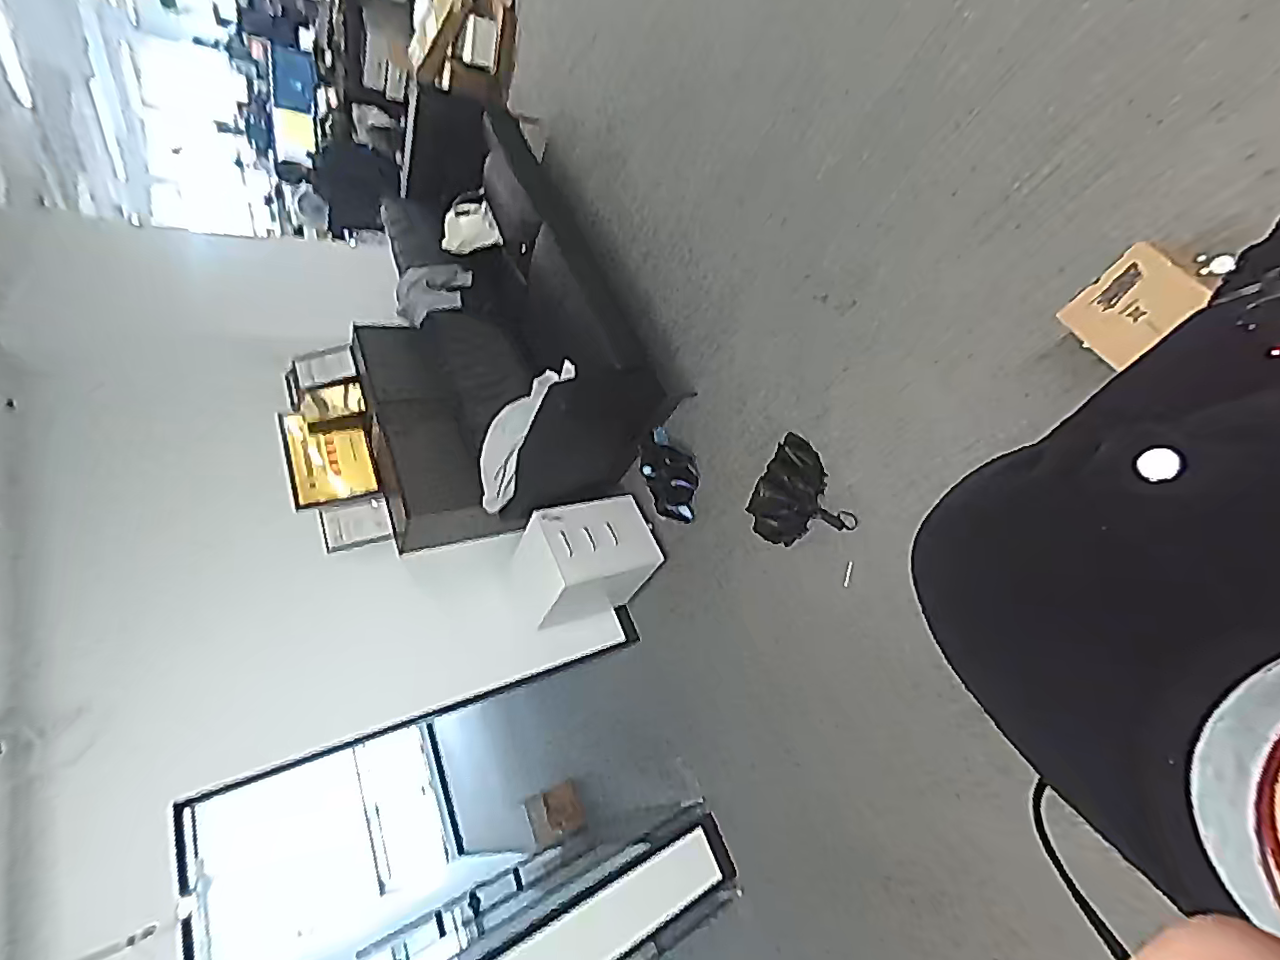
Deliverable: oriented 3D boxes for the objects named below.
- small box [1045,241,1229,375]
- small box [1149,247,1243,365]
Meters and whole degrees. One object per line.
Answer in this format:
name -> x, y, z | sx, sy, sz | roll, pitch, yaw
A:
small box -> 0.923, -0.315, 1.010 | 0.179, 0.176, 0.168 | 61, 142, 25
small box -> 1.054, -0.346, 1.104 | 0.179, 0.176, 0.168 | 60, 142, 24
